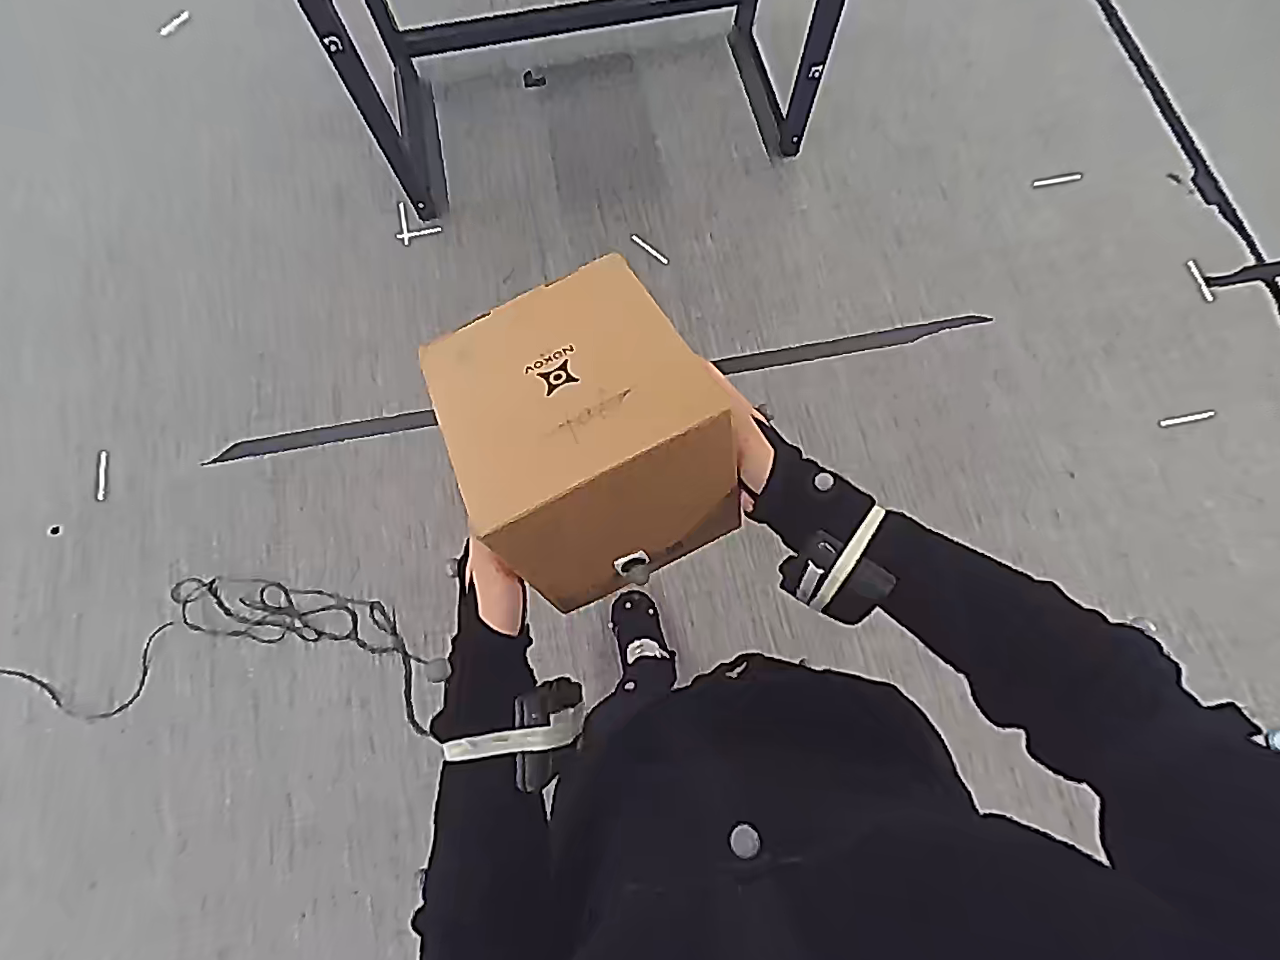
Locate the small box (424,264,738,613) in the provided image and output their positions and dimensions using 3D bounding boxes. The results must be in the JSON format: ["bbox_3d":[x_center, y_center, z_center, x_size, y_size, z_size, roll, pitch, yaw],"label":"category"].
[{"bbox_3d":[-0.037,-0.024,0.425,0.168,0.176,0.179,-28,59,-3],"label":"small box"}]
